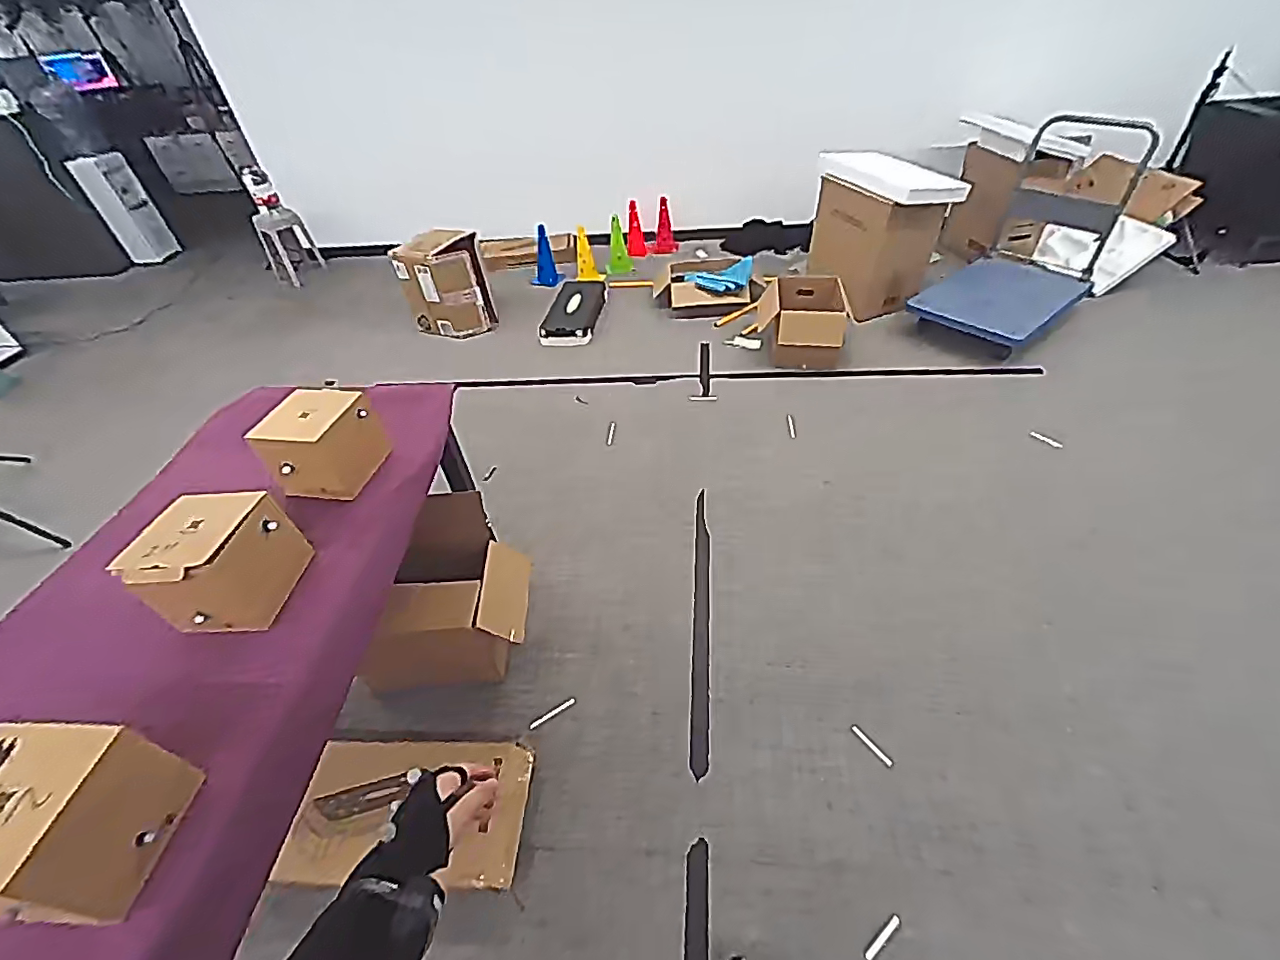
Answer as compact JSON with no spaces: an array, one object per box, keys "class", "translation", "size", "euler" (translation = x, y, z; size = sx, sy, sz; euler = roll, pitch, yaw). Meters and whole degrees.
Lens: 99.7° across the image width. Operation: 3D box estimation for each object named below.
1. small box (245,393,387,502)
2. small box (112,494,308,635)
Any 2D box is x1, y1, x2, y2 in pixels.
[{"class":"small box","translation":[-0.679,-0.069,1.163],"size":[0.168,0.176,0.179],"euler":[3,43,10]},{"class":"small box","translation":[-0.715,0.146,0.931],"size":[0.168,0.176,0.179],"euler":[-4,42,6]}]
